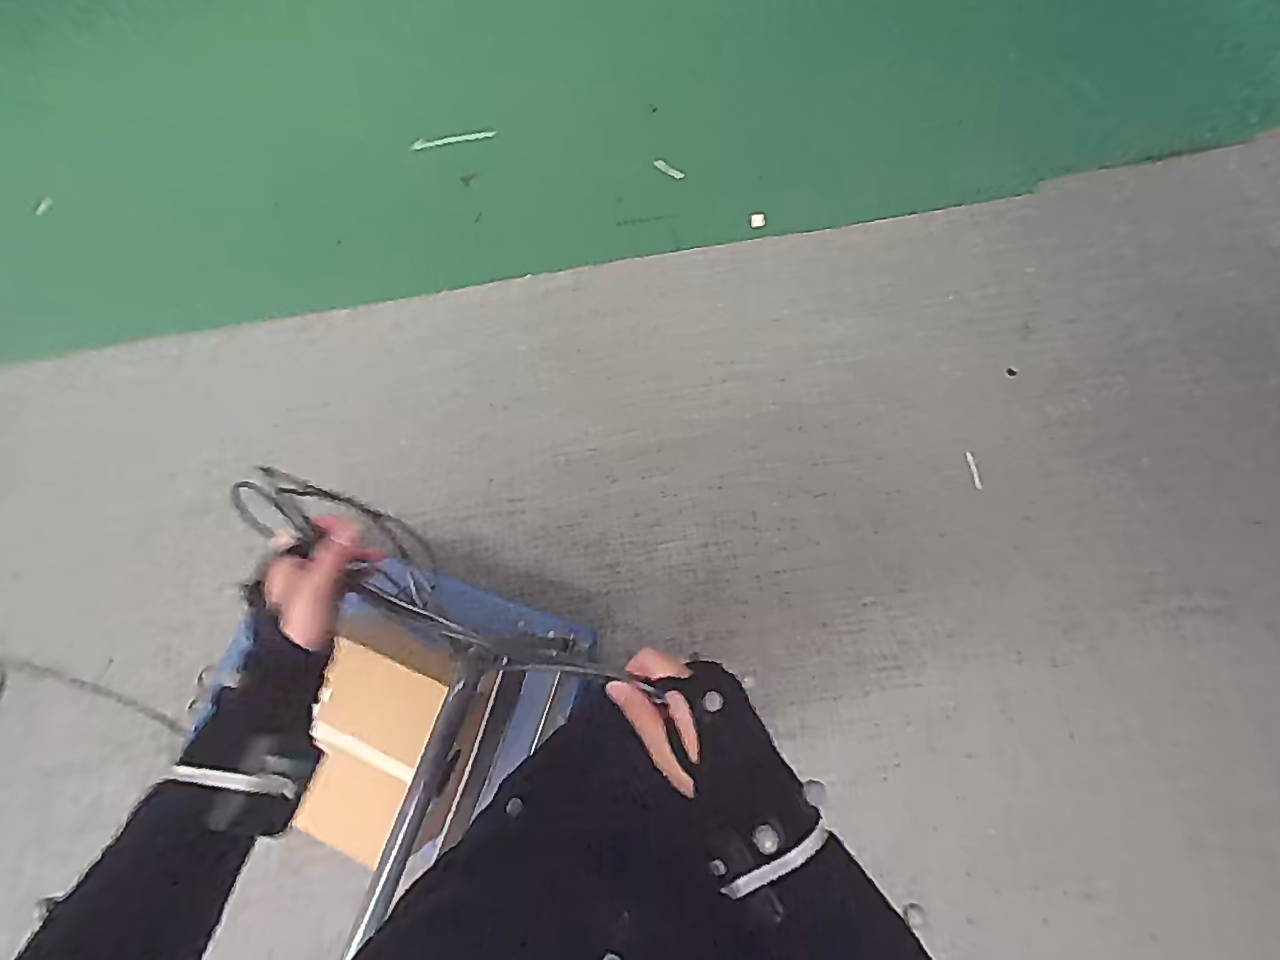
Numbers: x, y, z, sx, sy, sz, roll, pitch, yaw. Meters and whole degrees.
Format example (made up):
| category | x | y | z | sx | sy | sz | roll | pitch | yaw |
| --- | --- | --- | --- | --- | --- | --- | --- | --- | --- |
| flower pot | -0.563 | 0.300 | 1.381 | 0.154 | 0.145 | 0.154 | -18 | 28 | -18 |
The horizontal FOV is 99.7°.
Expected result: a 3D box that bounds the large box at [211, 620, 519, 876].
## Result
| category | x | y | z | sx | sy | sz | roll | pitch | yaw |
| --- | --- | --- | --- | --- | --- | --- | --- | --- | --- |
| large box | -0.526 | 0.505 | 1.114 | 0.408 | 0.320 | 0.320 | 20 | 77 | 11 |
